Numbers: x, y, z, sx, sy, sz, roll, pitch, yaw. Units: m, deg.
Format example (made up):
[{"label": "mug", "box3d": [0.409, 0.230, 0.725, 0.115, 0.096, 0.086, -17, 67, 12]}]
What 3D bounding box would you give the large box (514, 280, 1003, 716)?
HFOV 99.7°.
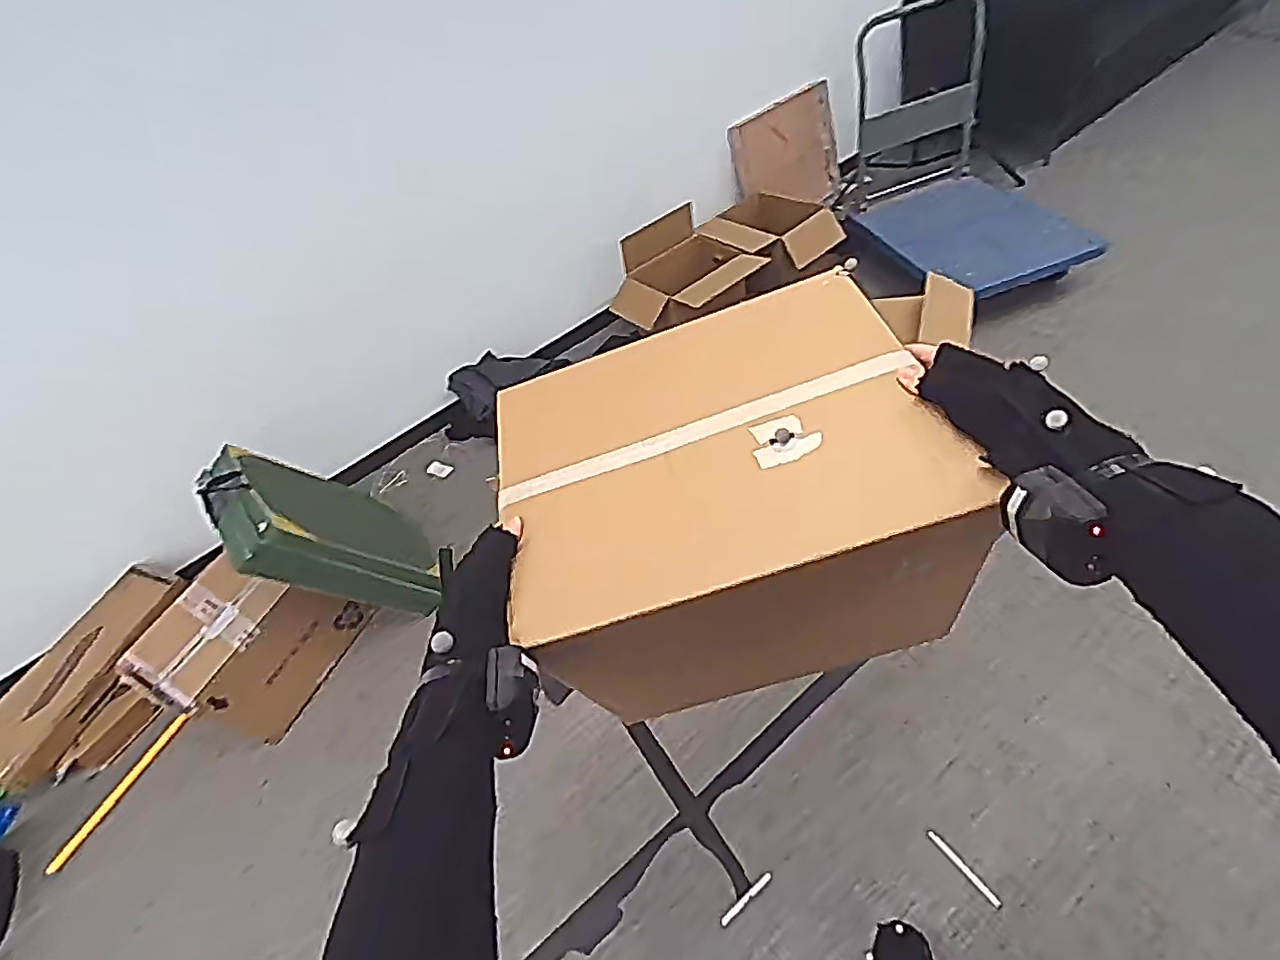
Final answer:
[{"label": "large box", "box3d": [0.106, 0.040, 0.641, 0.408, 0.320, 0.320, -18, 53, 6]}]
